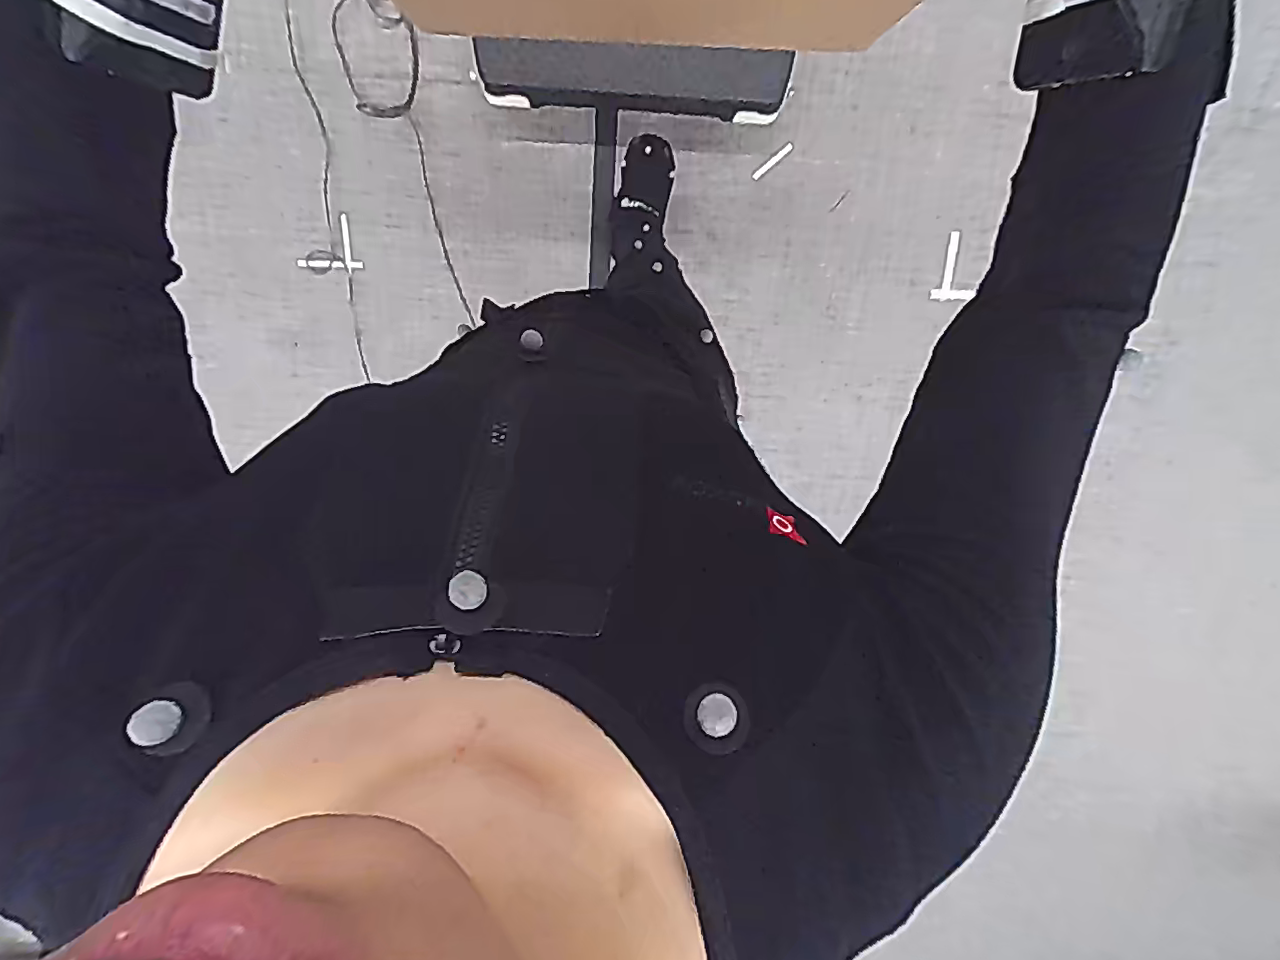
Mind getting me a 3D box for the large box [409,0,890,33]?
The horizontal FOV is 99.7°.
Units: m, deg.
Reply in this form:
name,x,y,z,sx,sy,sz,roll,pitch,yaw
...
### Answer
name,x,y,z,sx,sy,sz,roll,pitch,yaw
large box,0.009,-0.490,0.296,0.408,0.320,0.320,1,113,-1
